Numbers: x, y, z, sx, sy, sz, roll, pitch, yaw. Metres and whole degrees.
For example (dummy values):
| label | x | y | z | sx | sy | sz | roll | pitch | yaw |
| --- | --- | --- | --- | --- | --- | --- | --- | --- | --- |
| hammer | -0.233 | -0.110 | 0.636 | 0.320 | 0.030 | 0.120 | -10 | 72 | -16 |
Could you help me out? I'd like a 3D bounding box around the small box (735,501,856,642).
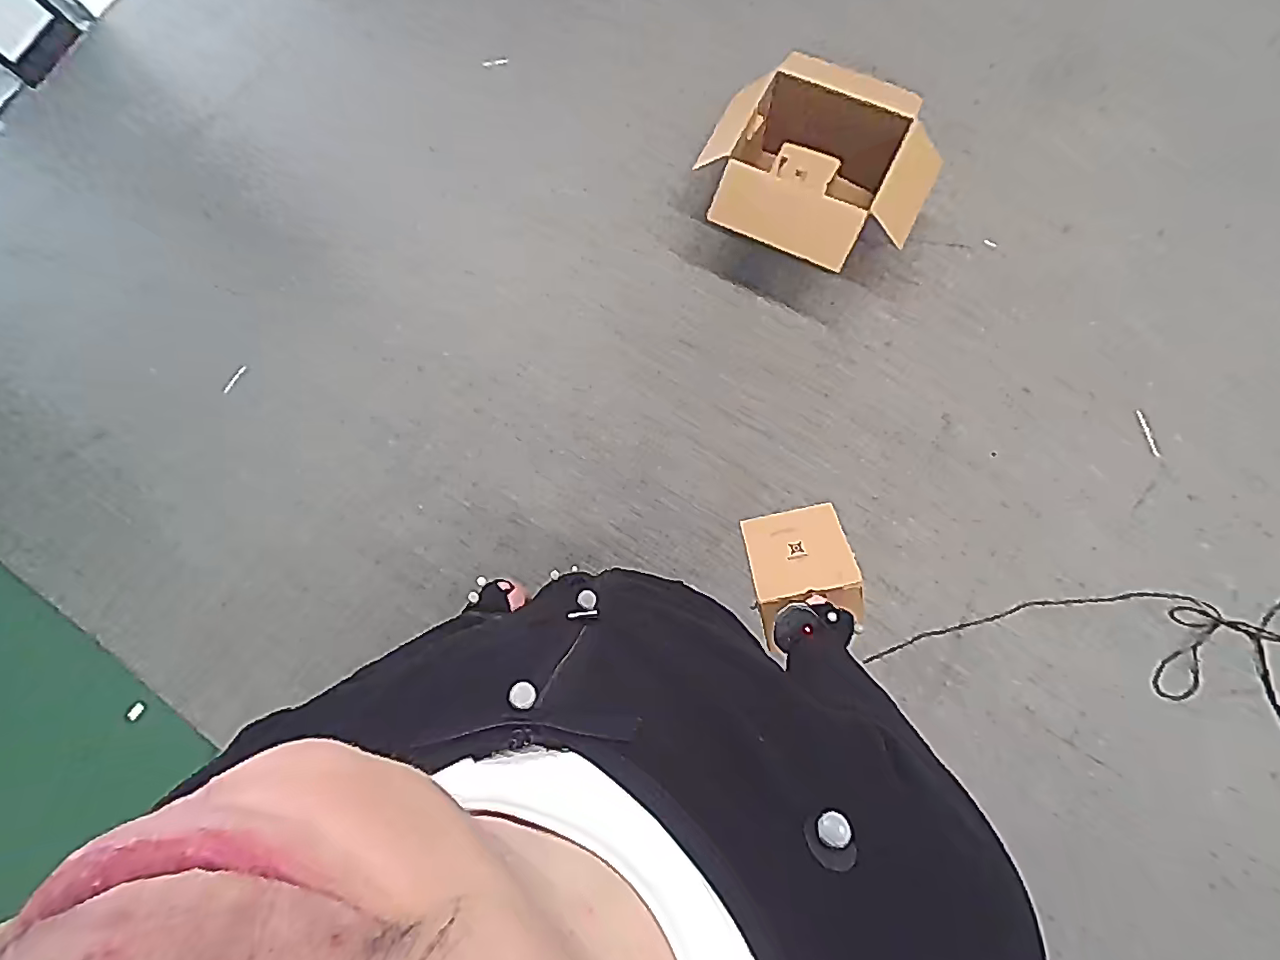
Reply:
| label | x | y | z | sx | sy | sz | roll | pitch | yaw |
| --- | --- | --- | --- | --- | --- | --- | --- | --- | --- |
| small box | 0.271 | 0.168 | 0.952 | 0.168 | 0.176 | 0.179 | -12 | 42 | 7 |
